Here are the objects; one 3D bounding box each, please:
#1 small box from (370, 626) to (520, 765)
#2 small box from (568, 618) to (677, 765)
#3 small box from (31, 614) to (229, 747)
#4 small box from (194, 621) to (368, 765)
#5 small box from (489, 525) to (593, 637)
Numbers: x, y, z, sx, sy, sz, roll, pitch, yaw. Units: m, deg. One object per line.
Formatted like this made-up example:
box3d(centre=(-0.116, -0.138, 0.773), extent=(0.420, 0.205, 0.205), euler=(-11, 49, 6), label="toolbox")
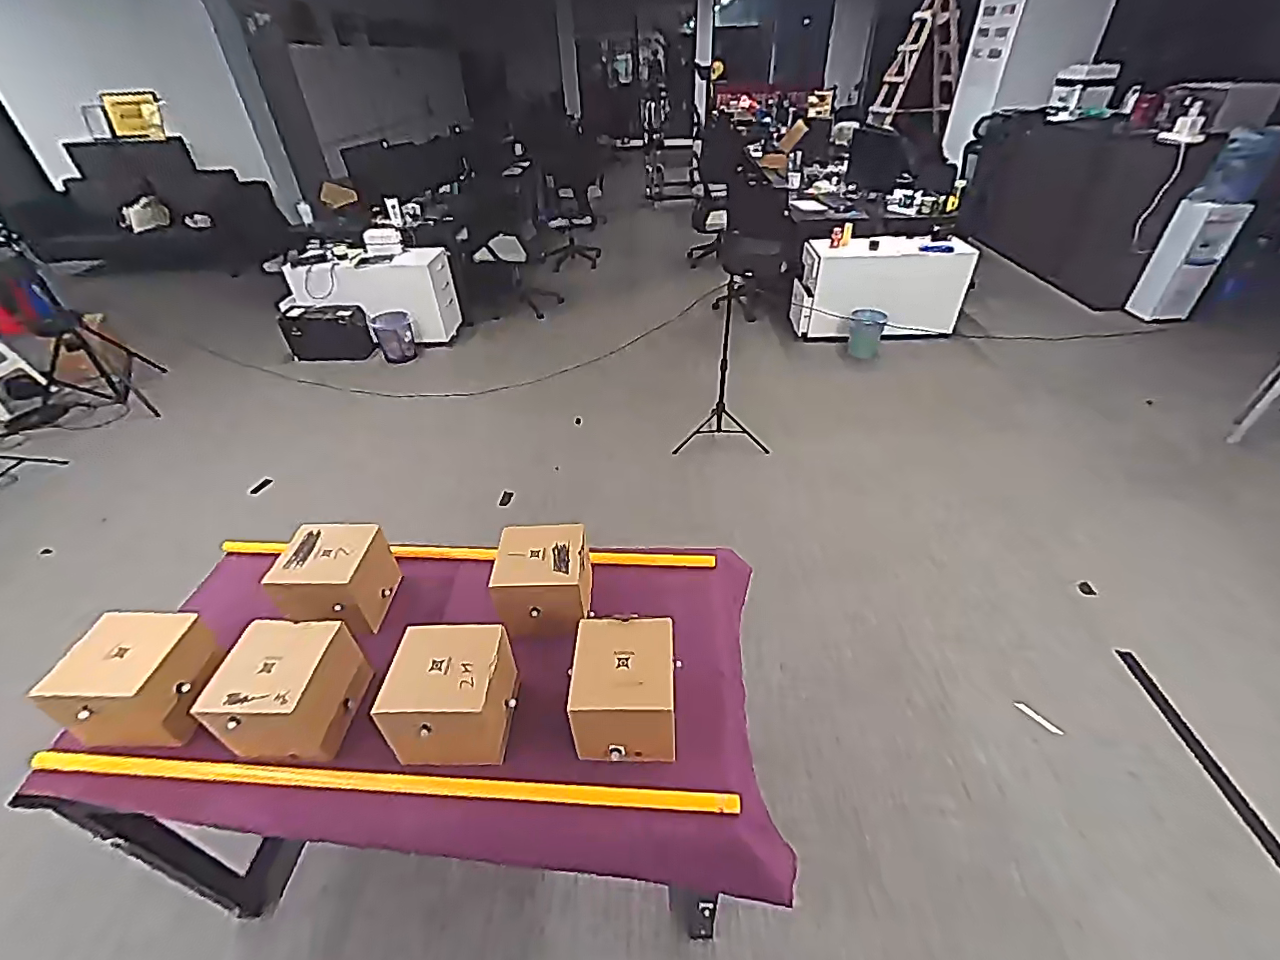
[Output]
box3d(centre=(-0.320, 0.370, 0.930), extent=(0.179, 0.176, 0.168), euler=(-1, 37, 3), label="small box")
box3d(centre=(-0.022, 0.359, 0.927), extent=(0.168, 0.176, 0.179), euler=(-2, 36, 4), label="small box")
box3d(centre=(-0.887, 0.361, 0.974), extent=(0.179, 0.176, 0.168), euler=(0, 38, 1), label="small box")
box3d(centre=(-0.607, 0.370, 0.947), extent=(0.168, 0.176, 0.179), euler=(-1, 38, 4), label="small box")
box3d(centre=(-0.195, 0.211, 1.126), extent=(0.179, 0.176, 0.168), euler=(-2, 39, 2), label="small box")
